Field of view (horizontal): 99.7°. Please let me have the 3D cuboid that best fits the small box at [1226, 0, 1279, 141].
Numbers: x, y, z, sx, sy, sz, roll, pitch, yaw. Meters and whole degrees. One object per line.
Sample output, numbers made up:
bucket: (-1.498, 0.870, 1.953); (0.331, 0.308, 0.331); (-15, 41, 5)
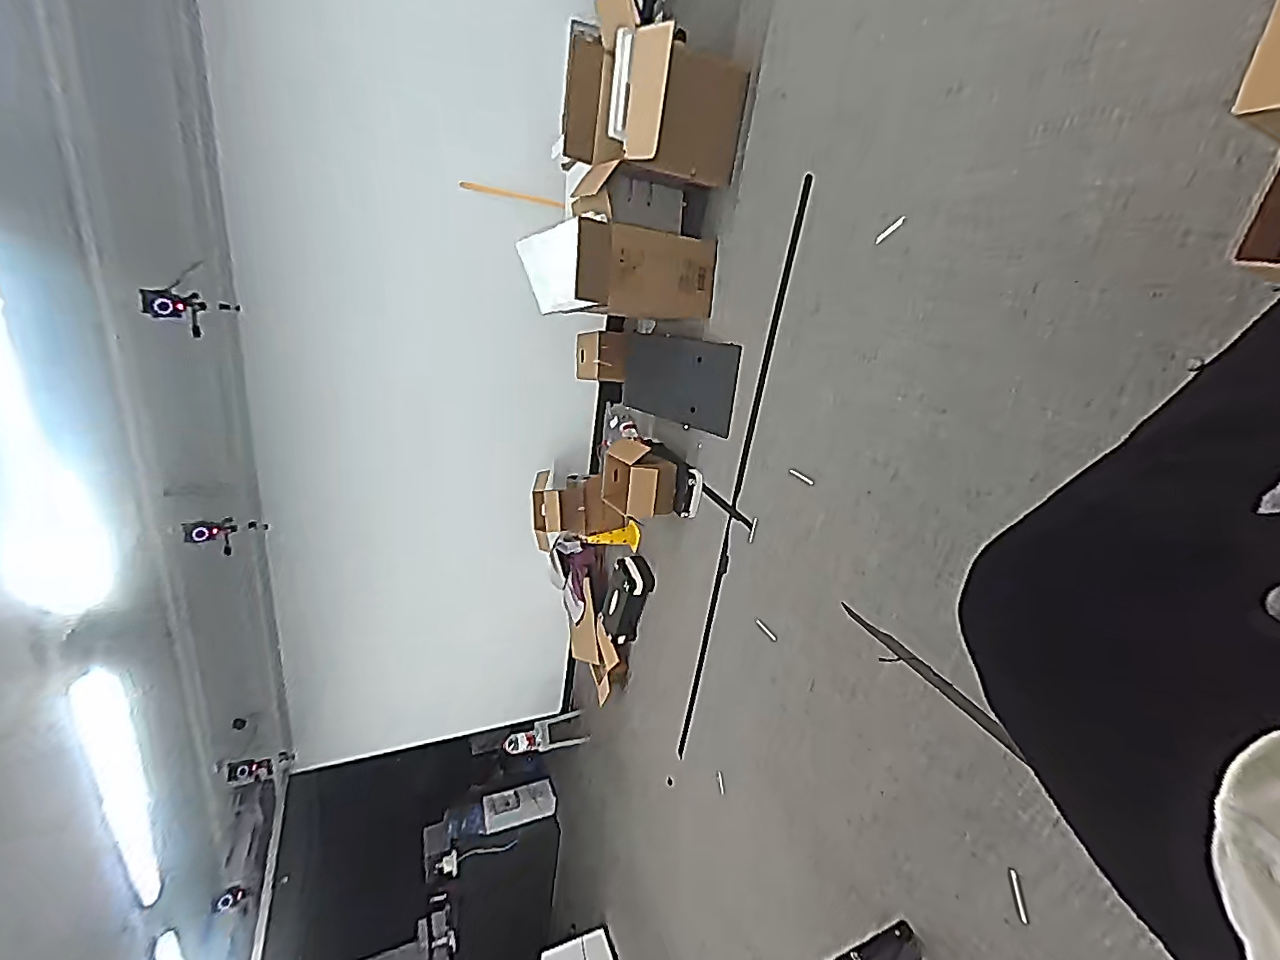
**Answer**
small box: (0.704, -0.414, 0.480); (0.168, 0.176, 0.179); (-136, 51, -58)
